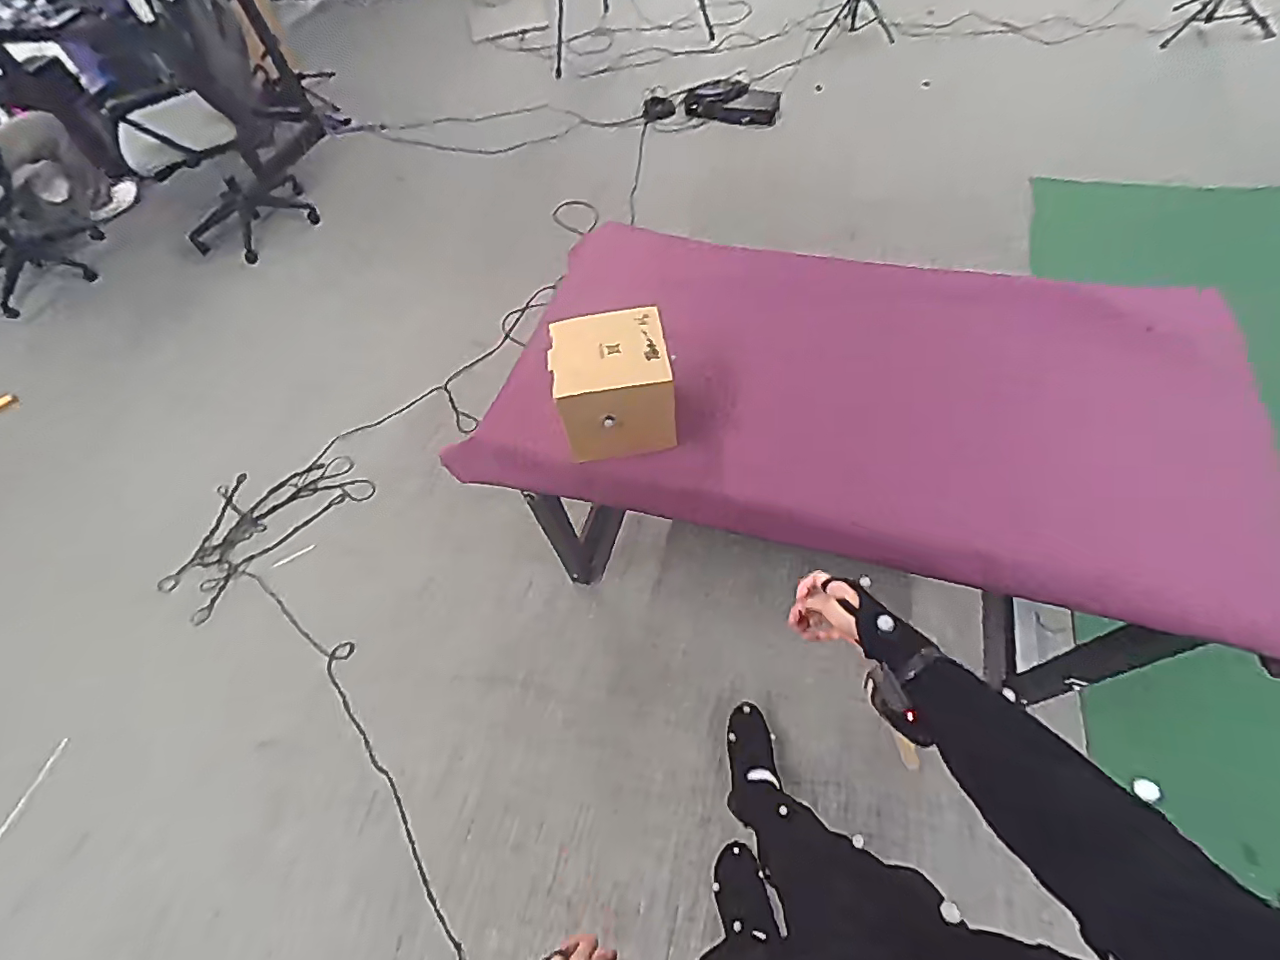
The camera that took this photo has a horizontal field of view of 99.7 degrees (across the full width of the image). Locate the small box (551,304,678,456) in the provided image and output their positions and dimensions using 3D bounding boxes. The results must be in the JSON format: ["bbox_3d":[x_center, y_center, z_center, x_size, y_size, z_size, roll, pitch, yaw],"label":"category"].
[{"bbox_3d":[-0.039,-0.156,0.884,0.179,0.176,0.168,-9,57,1],"label":"small box"}]
